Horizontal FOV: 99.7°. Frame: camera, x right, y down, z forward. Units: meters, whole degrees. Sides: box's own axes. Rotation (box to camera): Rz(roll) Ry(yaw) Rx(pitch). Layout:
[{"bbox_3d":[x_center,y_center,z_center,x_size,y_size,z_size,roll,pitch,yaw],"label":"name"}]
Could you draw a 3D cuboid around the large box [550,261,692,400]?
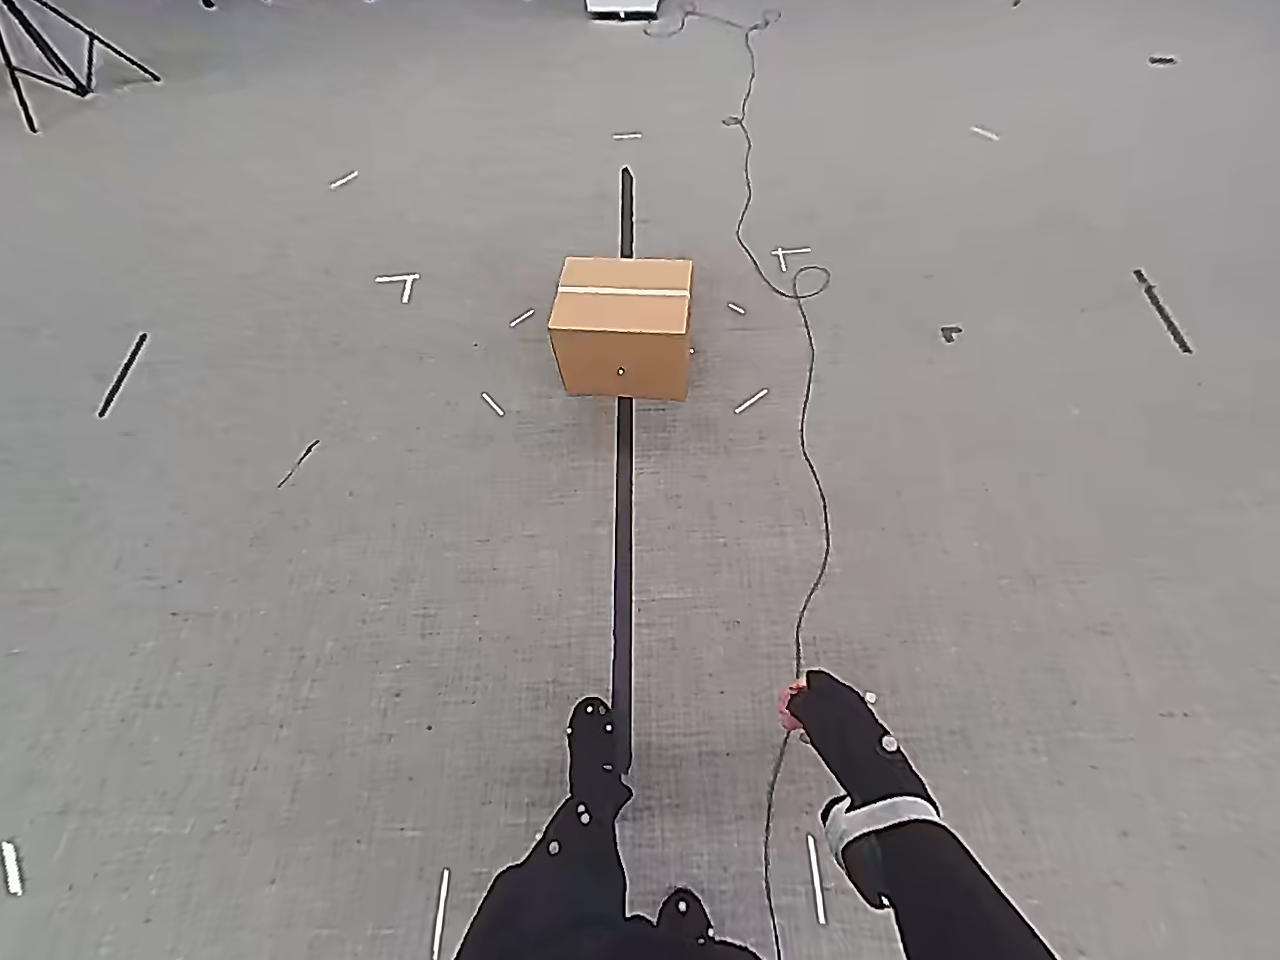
[{"bbox_3d":[-0.045,-0.476,1.747,0.408,0.320,0.320,4,62,6],"label":"large box"}]
